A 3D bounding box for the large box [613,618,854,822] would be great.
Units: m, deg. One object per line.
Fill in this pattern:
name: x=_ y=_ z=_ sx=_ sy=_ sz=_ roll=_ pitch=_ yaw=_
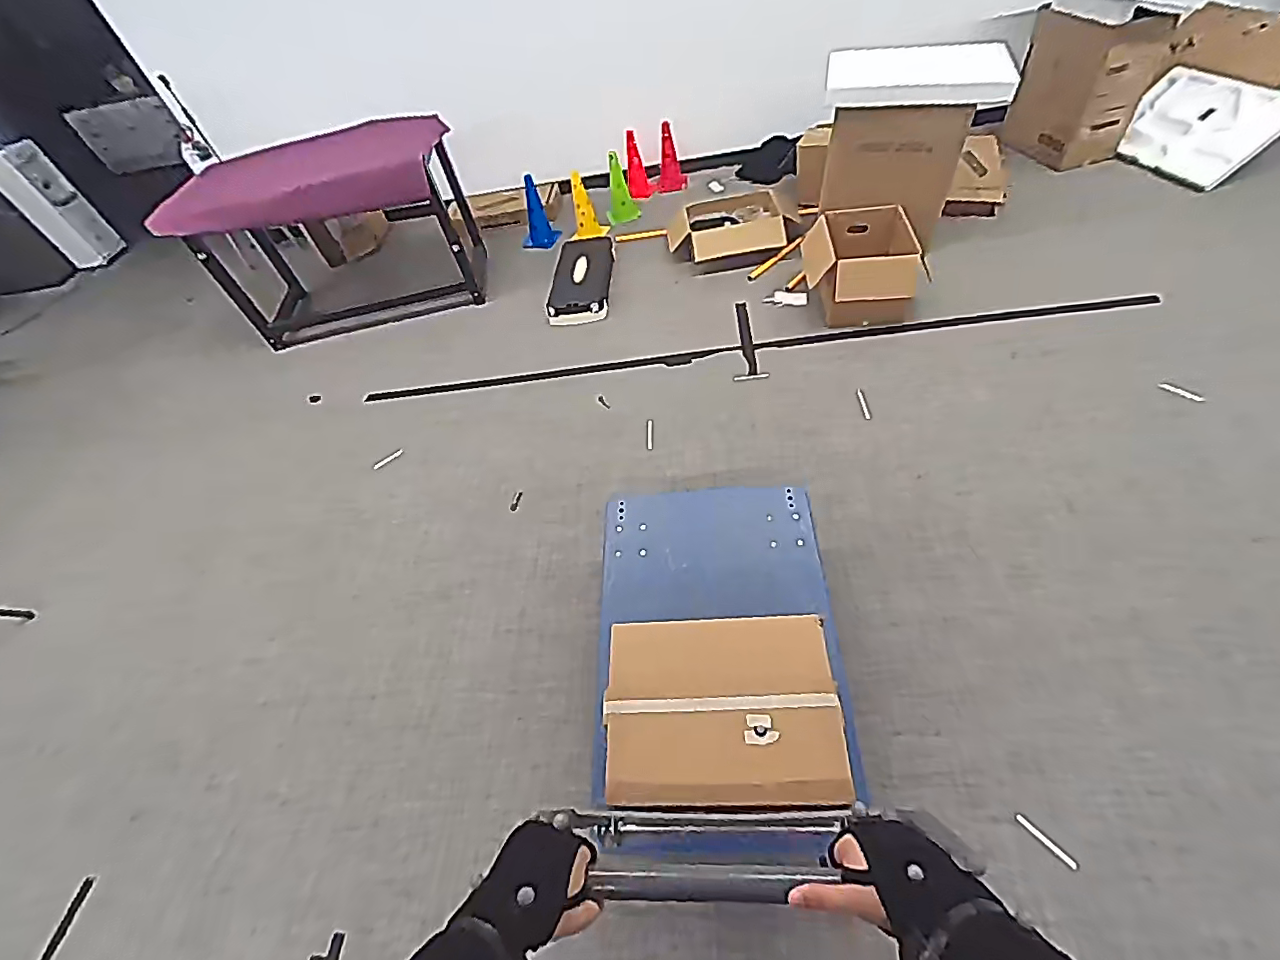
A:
large box: x=0.165 y=0.494 z=1.091 sx=0.408 sy=0.320 sz=0.320 roll=-5 pitch=55 yaw=6
